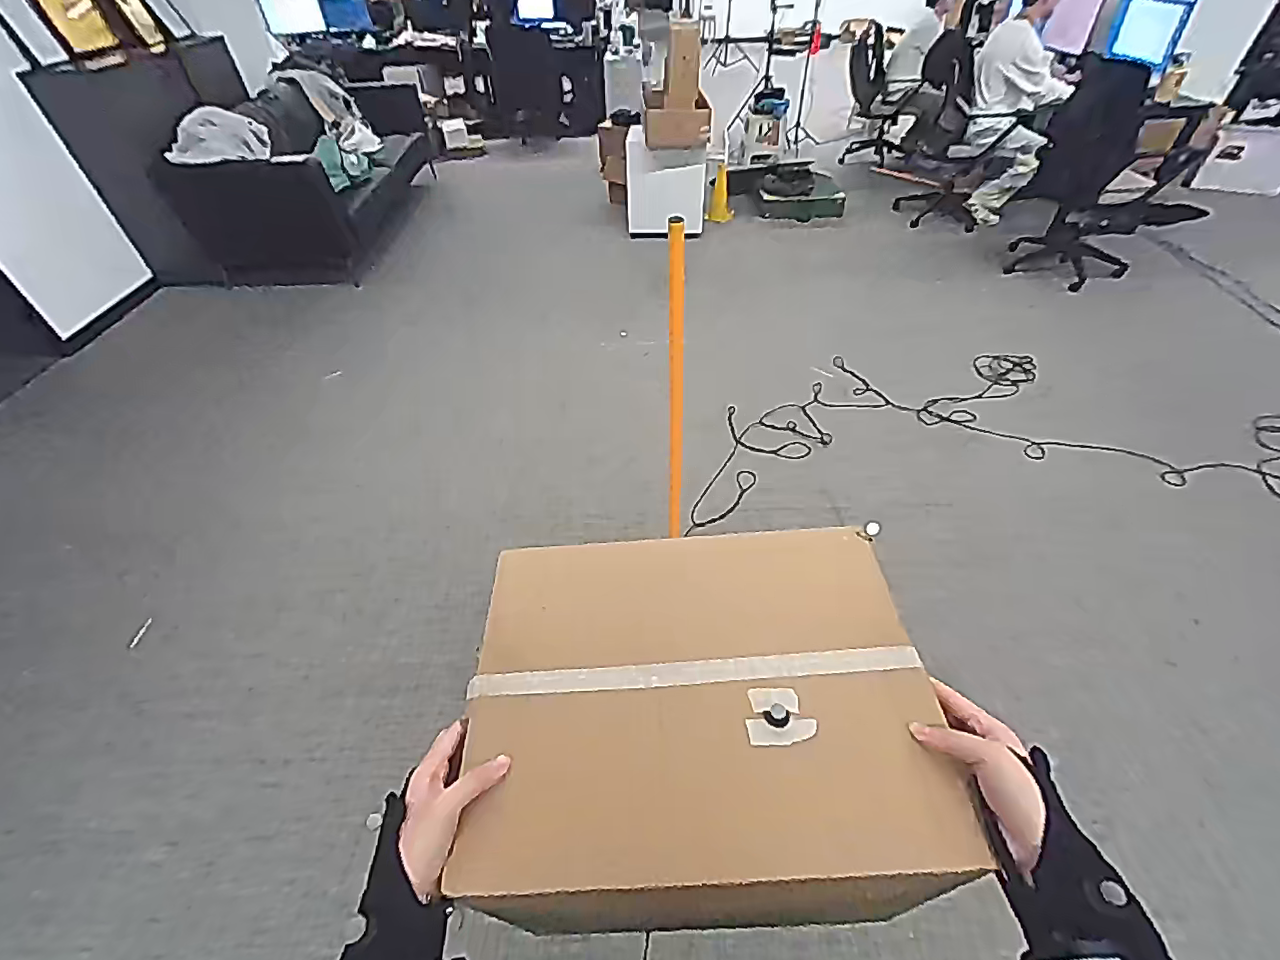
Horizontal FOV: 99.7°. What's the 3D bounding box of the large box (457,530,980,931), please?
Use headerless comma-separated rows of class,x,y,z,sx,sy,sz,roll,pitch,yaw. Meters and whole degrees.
large box,0.058,0.283,0.611,0.408,0.320,0.320,-4,46,1
